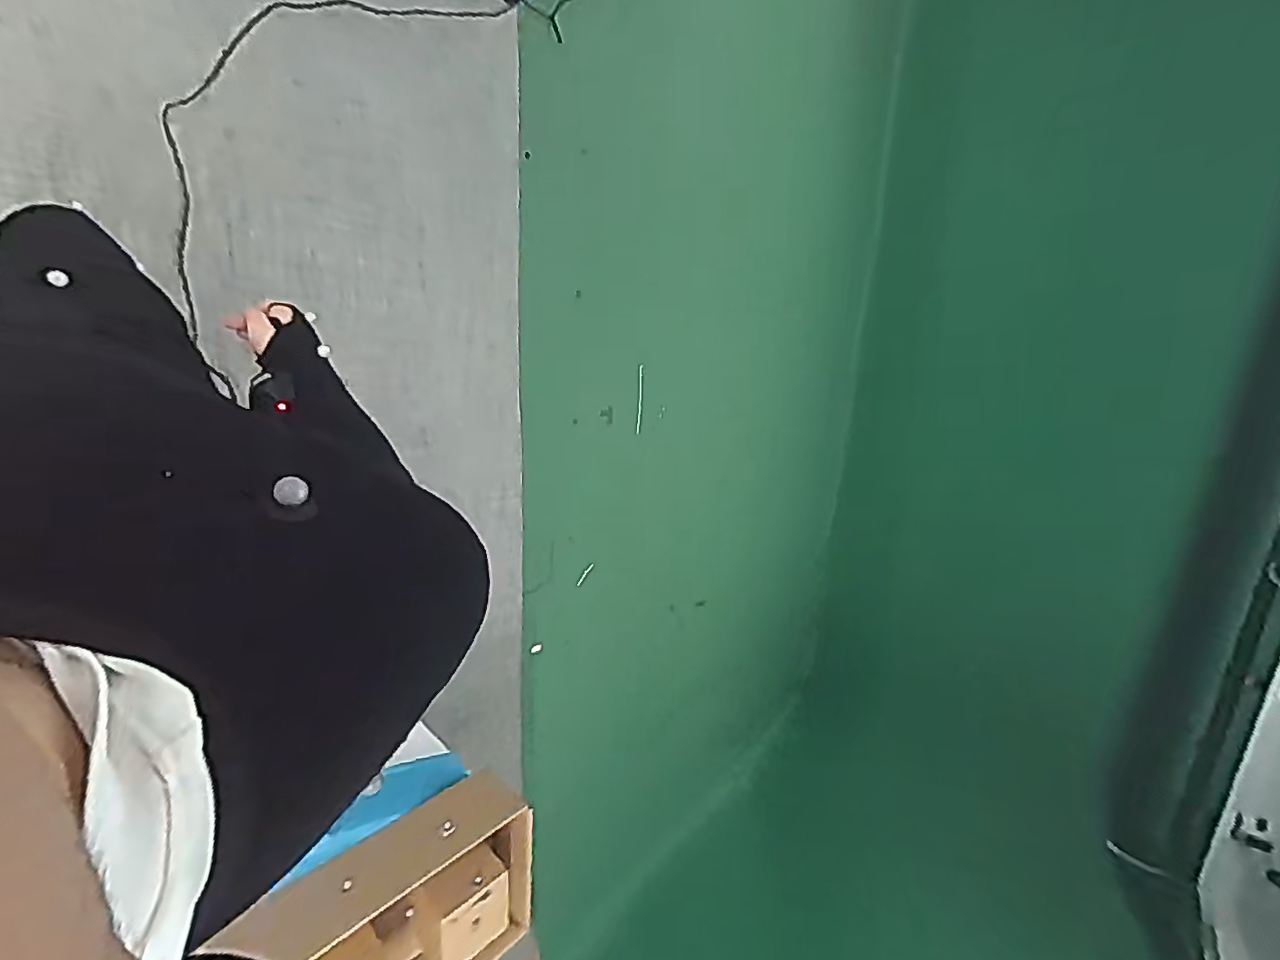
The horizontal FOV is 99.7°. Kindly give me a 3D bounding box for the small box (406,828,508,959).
[{"bbox_3d":[-0.425,0.963,1.250,0.168,0.176,0.179,-11,112,-47],"label":"small box"}]
